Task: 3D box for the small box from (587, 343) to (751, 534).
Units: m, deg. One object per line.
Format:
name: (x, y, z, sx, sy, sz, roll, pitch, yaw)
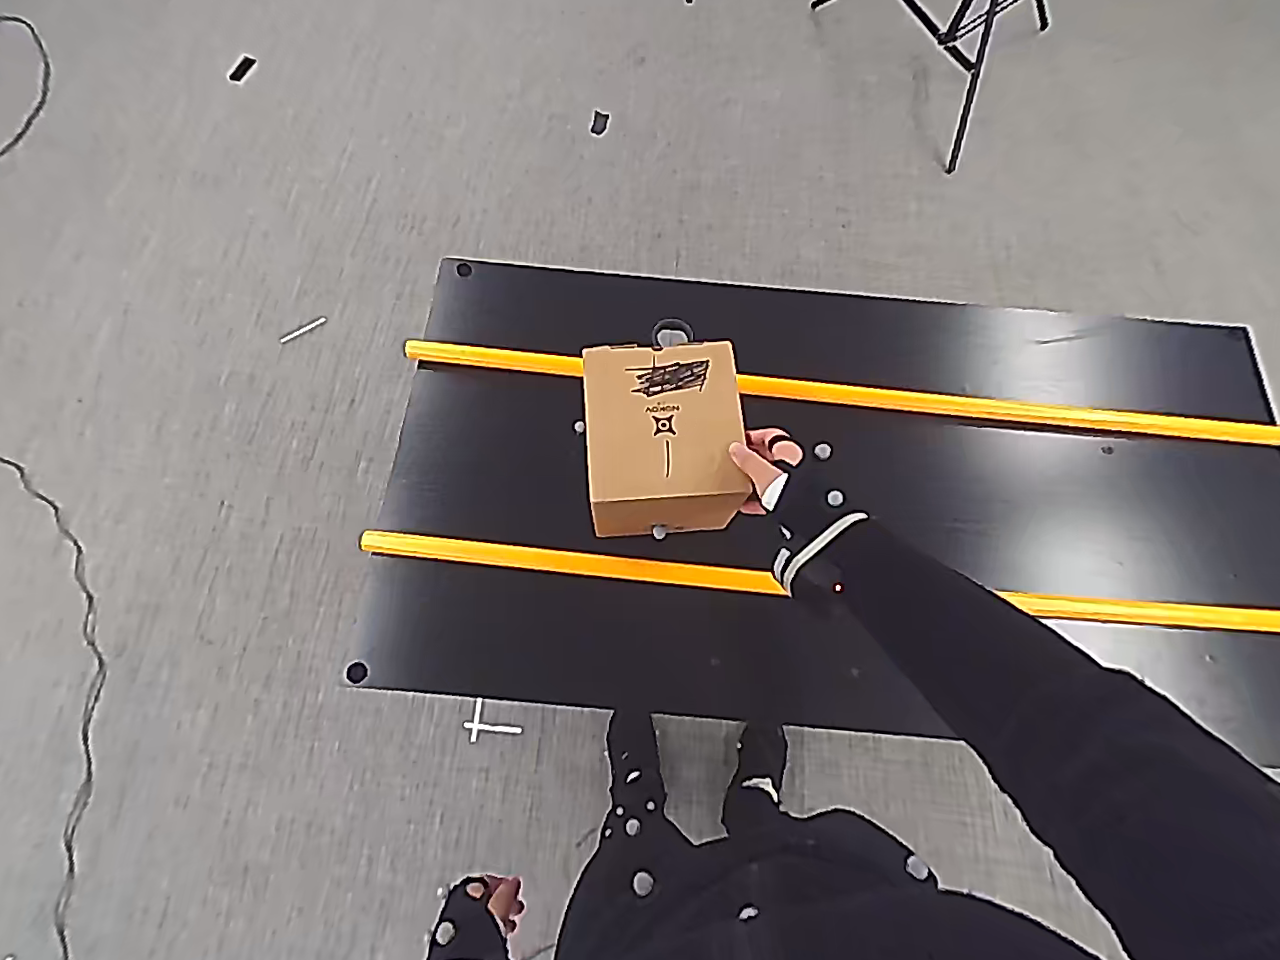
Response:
small box: (0.024, -0.042, 0.647, 0.168, 0.176, 0.179, -4, 73, -3)
